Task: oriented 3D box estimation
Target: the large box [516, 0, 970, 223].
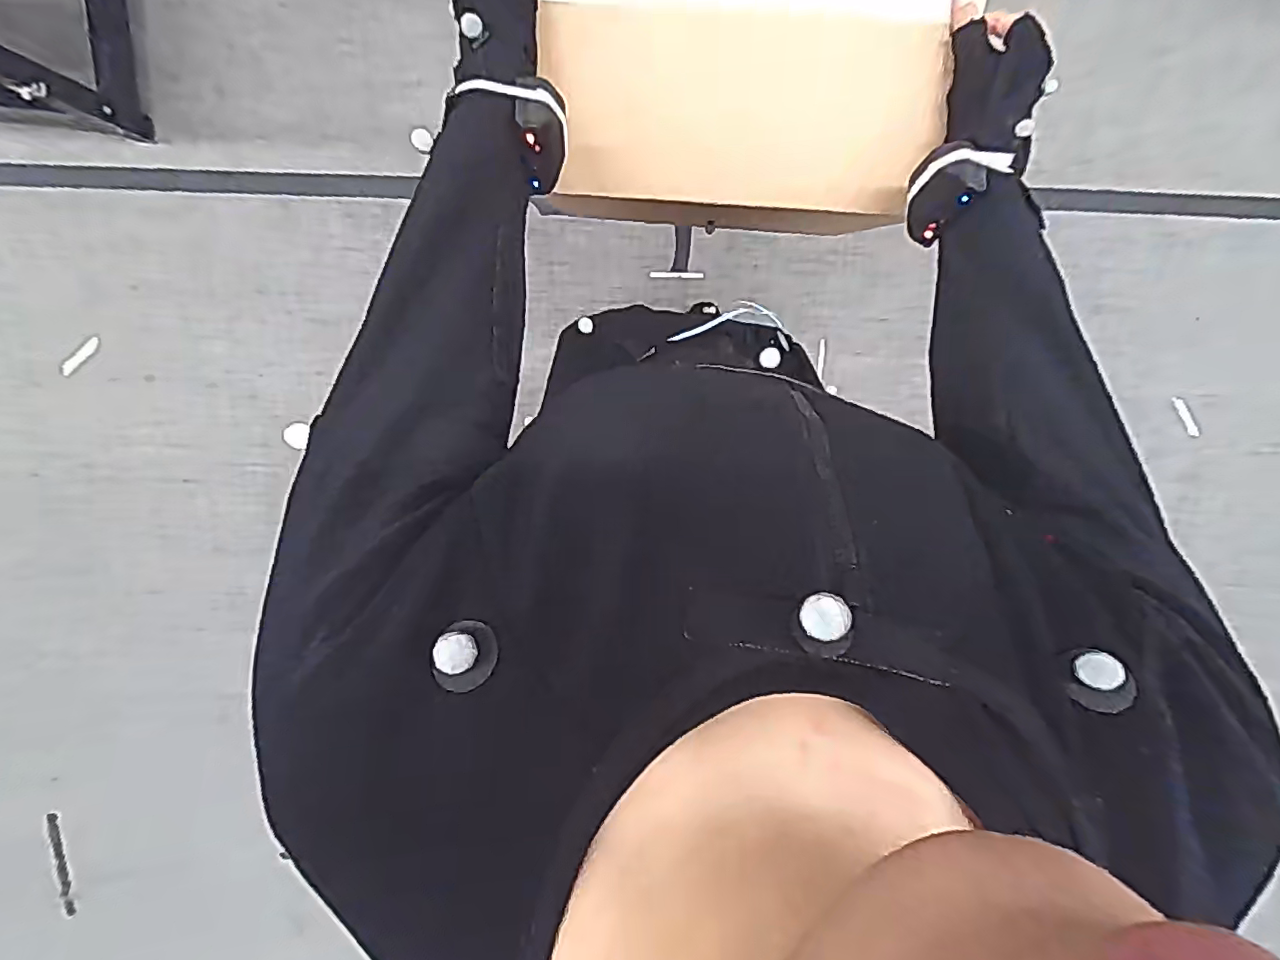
[{"bbox_3d":[0.096,-0.475,0.610,0.408,0.320,0.320,5,111,1],"label":"large box"}]
